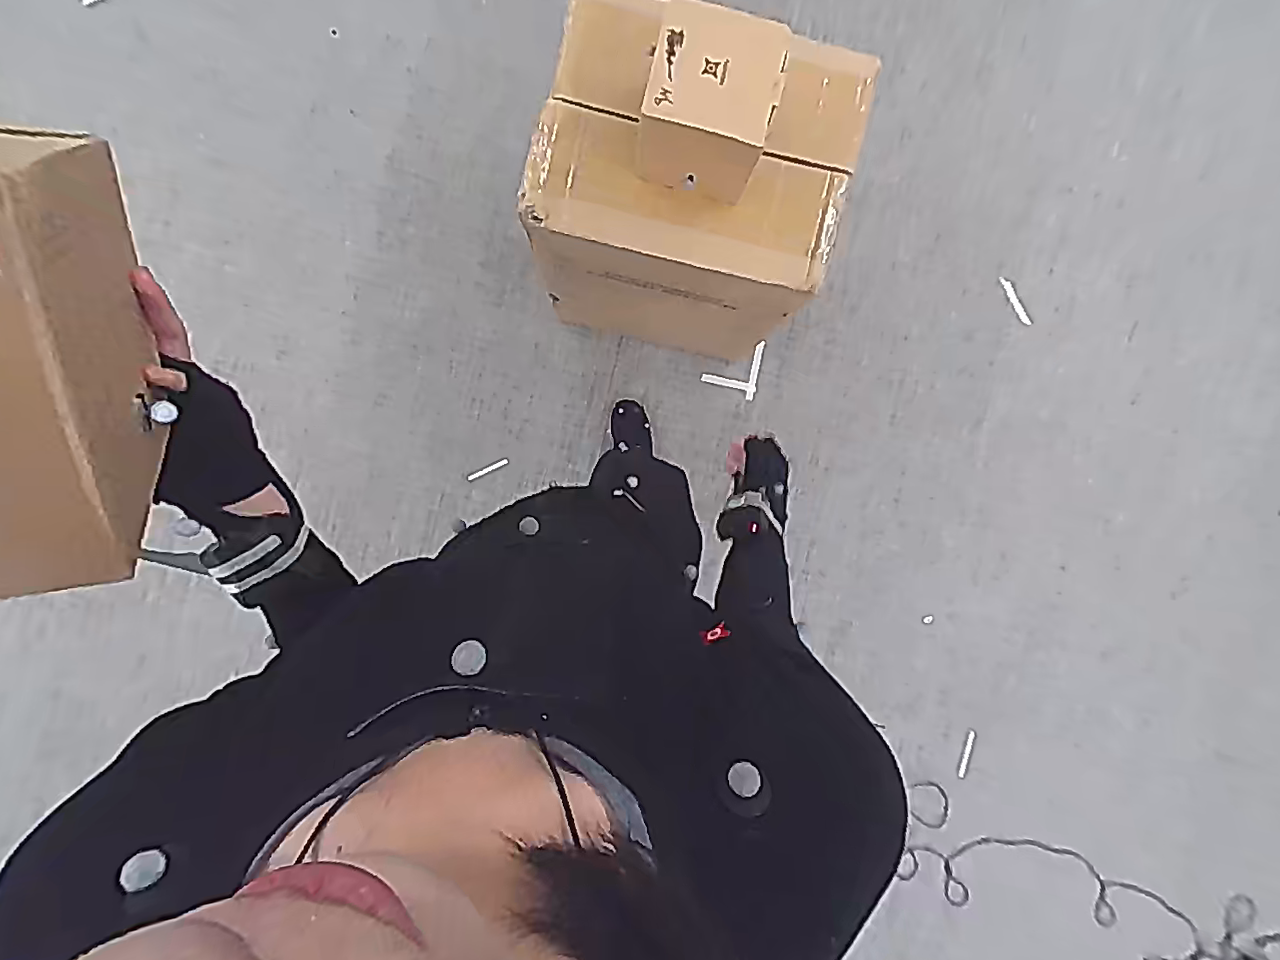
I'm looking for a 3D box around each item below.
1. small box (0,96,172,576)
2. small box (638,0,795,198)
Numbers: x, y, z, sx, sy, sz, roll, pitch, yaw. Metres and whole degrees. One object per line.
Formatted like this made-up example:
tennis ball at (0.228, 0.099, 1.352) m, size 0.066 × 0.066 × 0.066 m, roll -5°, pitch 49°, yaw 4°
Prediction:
small box at (-0.322, -0.070, 0.220) m, size 0.168 × 0.179 × 0.176 m, roll -7°, pitch 123°, yaw -30°
small box at (0.102, -0.550, 0.803) m, size 0.179 × 0.176 × 0.168 m, roll 14°, pitch 92°, yaw -3°
